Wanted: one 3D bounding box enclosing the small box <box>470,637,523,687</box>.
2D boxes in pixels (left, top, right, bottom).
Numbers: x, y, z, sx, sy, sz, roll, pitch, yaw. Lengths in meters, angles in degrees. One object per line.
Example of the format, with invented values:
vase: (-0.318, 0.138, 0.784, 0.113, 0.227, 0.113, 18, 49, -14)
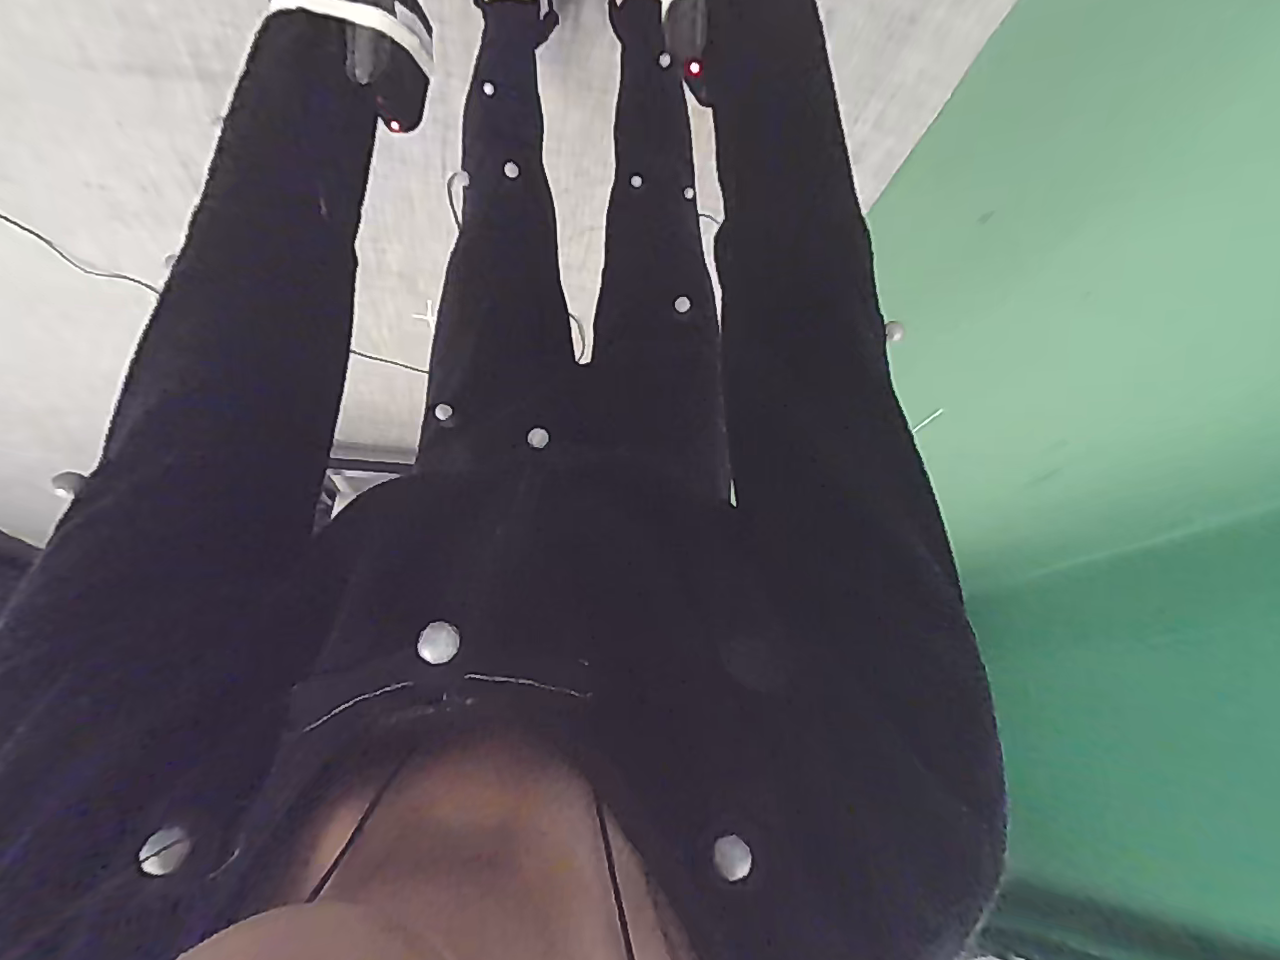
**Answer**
small box: (-0.555, 0.709, 2.106, 0.179, 0.176, 0.168, 4, 154, -10)
